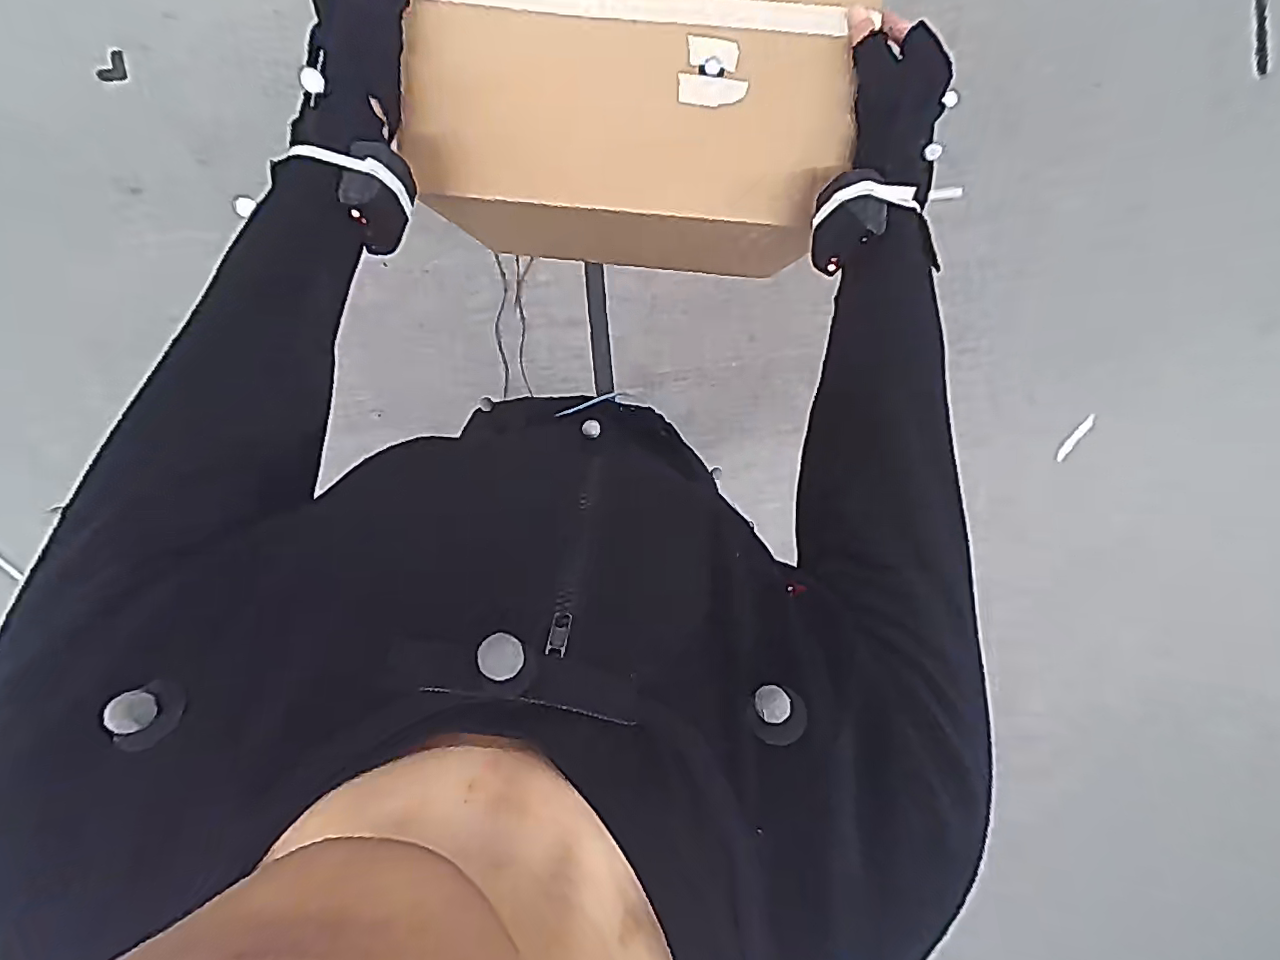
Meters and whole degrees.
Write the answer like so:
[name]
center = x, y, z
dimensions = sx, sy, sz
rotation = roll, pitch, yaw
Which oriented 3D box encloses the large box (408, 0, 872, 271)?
[large box]
center = -0.003, -0.430, 0.609
dimensions = 0.408, 0.320, 0.320
rotation = 4, 103, -1
